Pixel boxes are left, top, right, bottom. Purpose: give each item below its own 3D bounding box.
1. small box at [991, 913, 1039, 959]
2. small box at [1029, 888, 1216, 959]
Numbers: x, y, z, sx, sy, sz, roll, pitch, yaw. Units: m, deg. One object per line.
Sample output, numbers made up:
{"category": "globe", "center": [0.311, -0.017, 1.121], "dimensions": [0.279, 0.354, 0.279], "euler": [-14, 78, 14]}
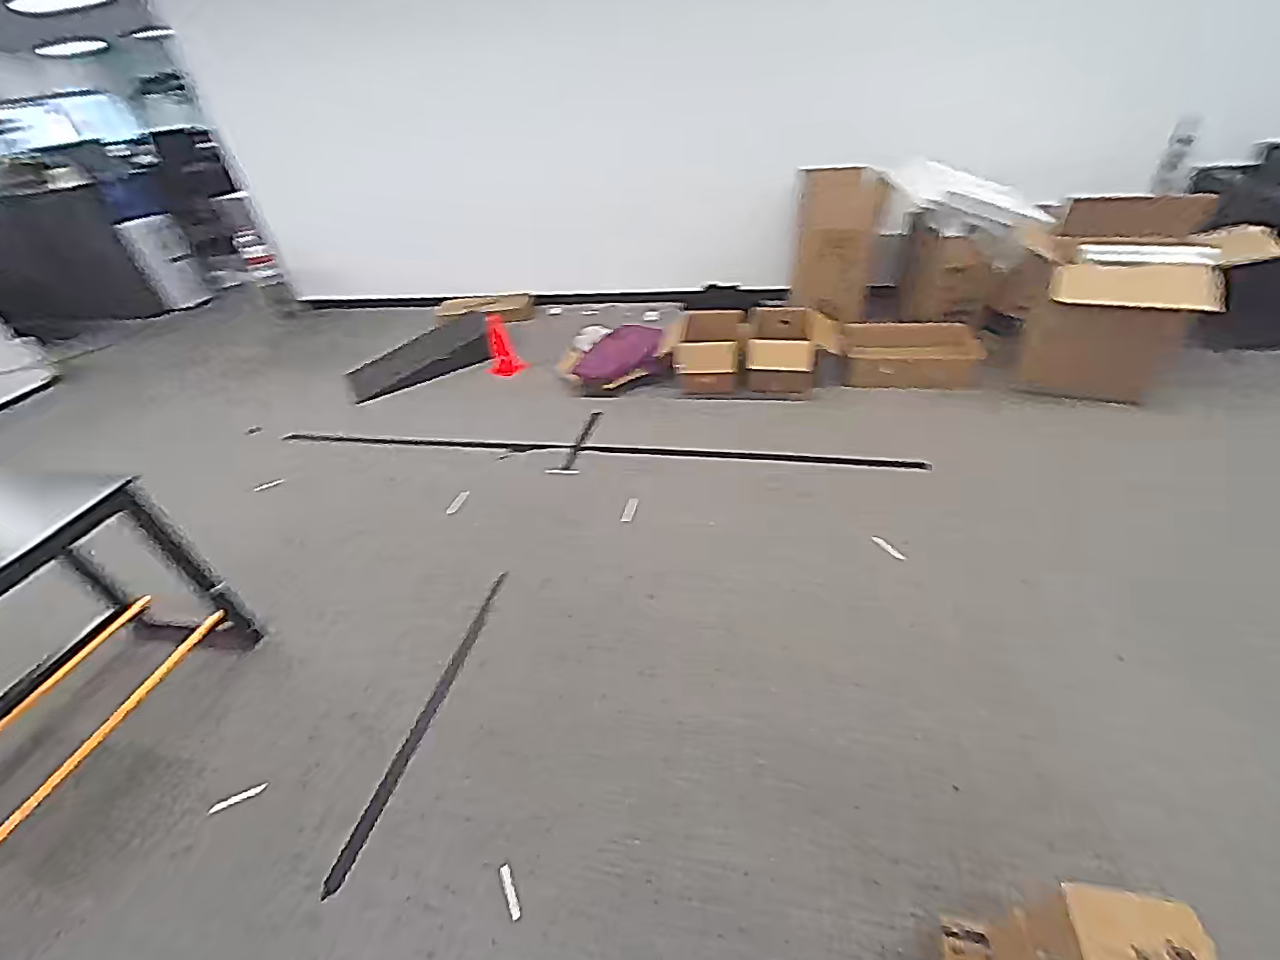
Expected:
{"category": "small box", "center": [0.739, 0.883, 0.924], "dimensions": [0.179, 0.176, 0.168], "euler": [4, 40, 14]}
{"category": "small box", "center": [0.739, 0.756, 0.819], "dimensions": [0.179, 0.176, 0.168], "euler": [3, 40, 13]}
